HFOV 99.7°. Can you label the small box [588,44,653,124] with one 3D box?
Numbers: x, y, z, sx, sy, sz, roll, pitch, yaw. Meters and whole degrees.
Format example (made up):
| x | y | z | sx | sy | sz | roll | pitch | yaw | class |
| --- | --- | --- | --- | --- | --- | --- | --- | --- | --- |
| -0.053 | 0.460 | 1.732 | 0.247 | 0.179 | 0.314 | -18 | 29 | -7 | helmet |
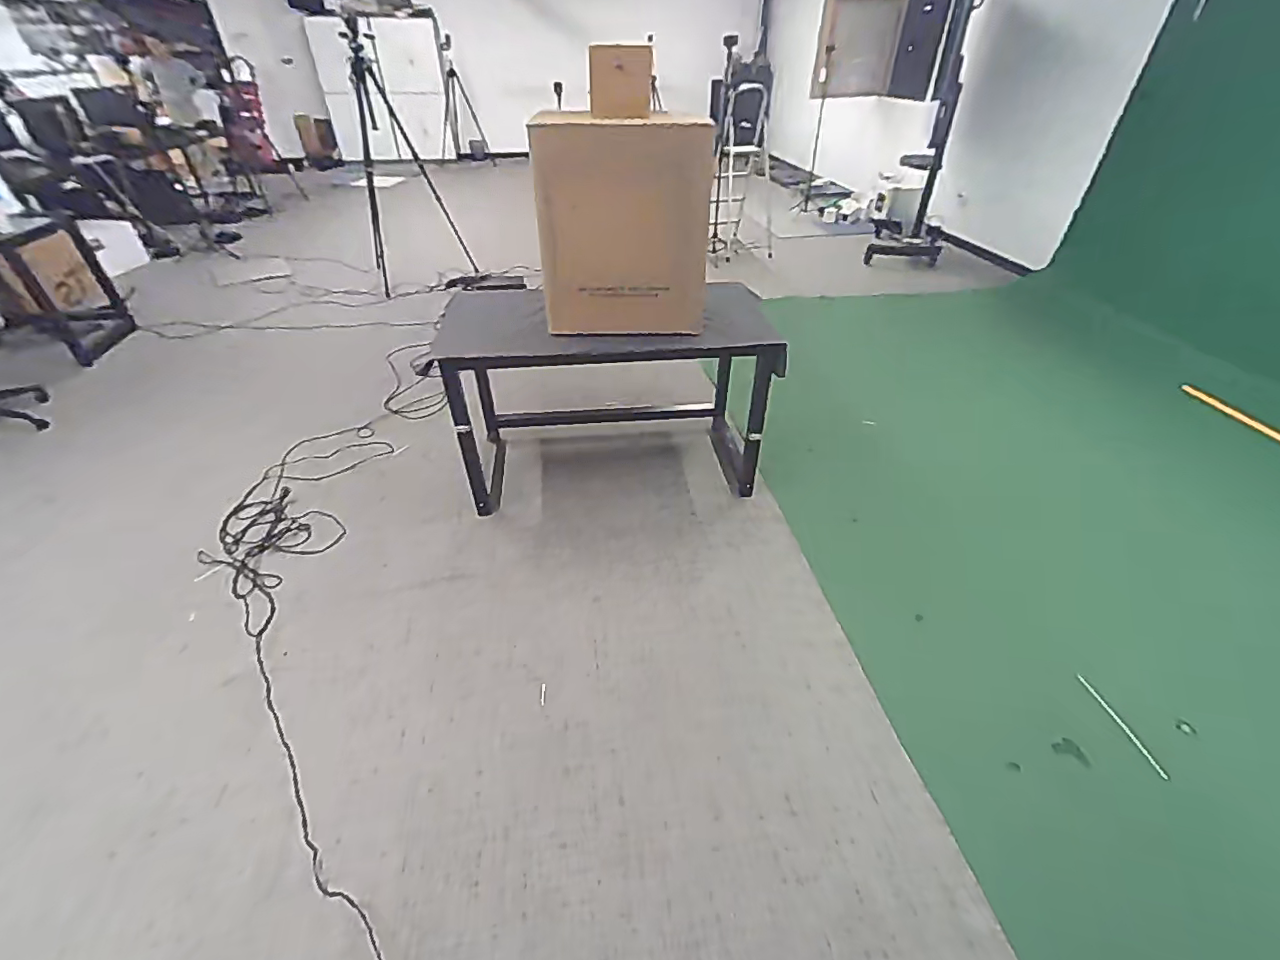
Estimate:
| x | y | z | sx | sy | sz | roll | pitch | yaw | class |
| --- | --- | --- | --- | --- | --- | --- | --- | --- | --- |
| -0.054 | -1.135 | 1.552 | 0.179 | 0.176 | 0.168 | 0 | 41 | 0 | small box |
